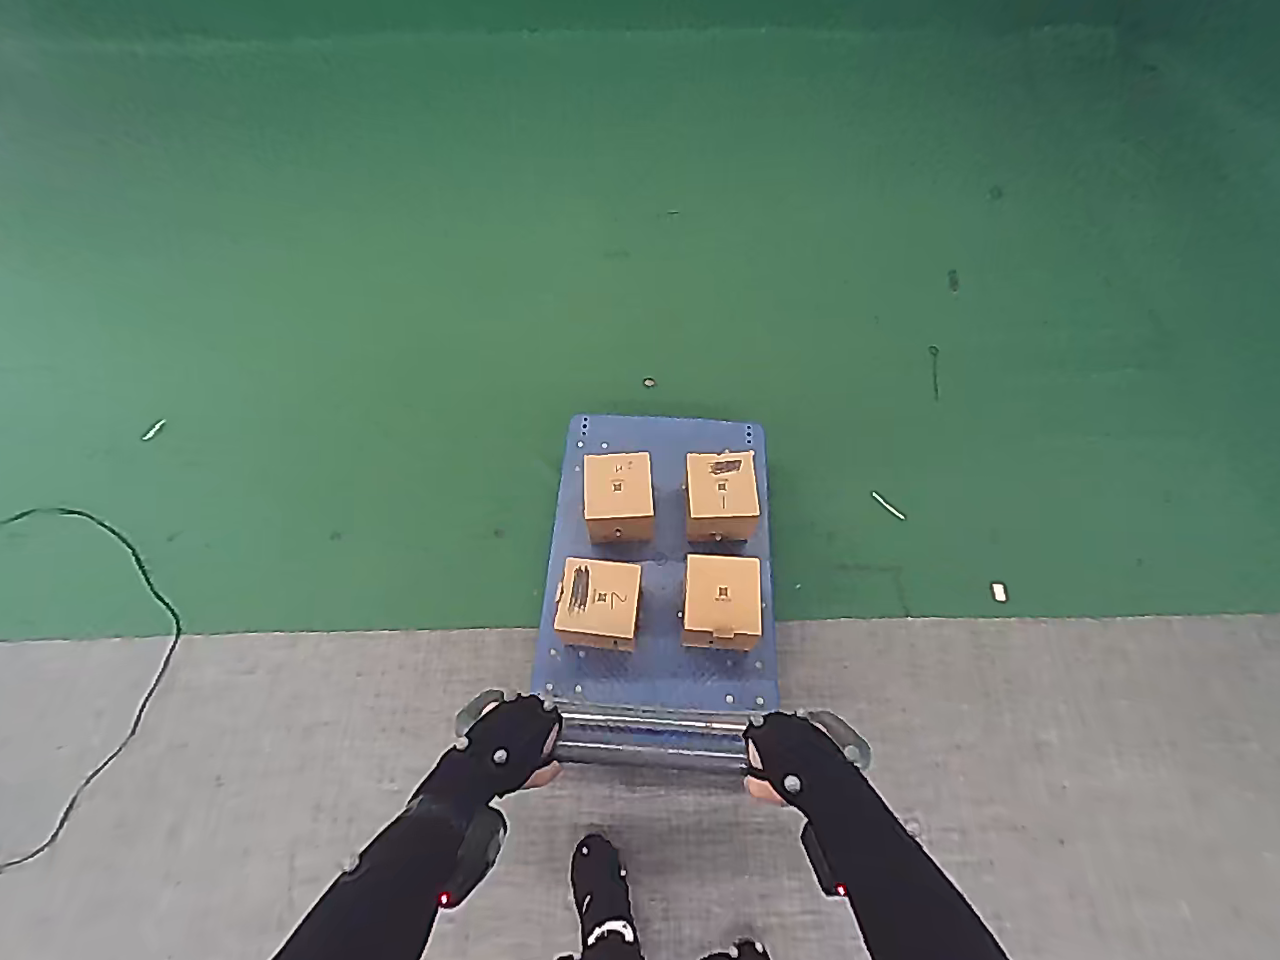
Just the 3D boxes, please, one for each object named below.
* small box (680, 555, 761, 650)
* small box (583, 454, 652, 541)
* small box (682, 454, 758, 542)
[{"bbox_3d":[0.183,0.290,1.266,0.168,0.176,0.179,3,64,2],"label":"small box"},{"bbox_3d":[-0.055,0.051,1.386,0.168,0.176,0.179,-2,63,-2],"label":"small box"},{"bbox_3d":[0.198,0.049,1.386,0.168,0.176,0.179,-2,64,0],"label":"small box"}]
